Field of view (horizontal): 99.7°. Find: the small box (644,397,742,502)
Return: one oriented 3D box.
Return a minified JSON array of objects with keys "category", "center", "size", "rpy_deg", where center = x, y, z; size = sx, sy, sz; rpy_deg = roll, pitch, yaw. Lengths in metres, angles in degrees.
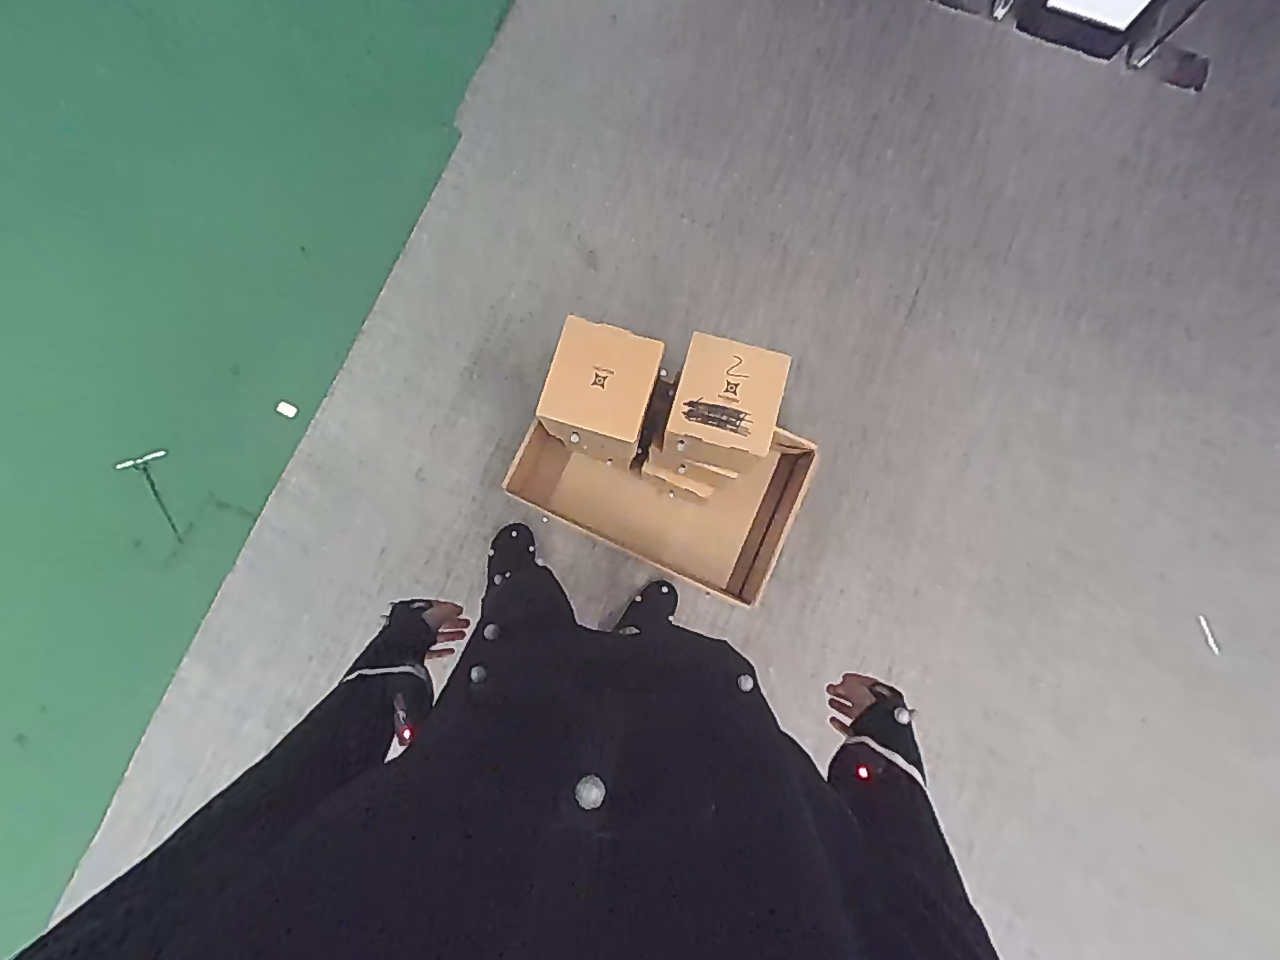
[{"category":"small box","center":[0.116,-0.064,1.253],"size":[0.168,0.176,0.179],"rpy_deg":[24,84,6]}]

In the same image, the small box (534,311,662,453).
[{"category":"small box","center":[-0.064,-0.158,0.936],"size":[0.168,0.176,0.179],"rpy_deg":[17,83,2]}]
